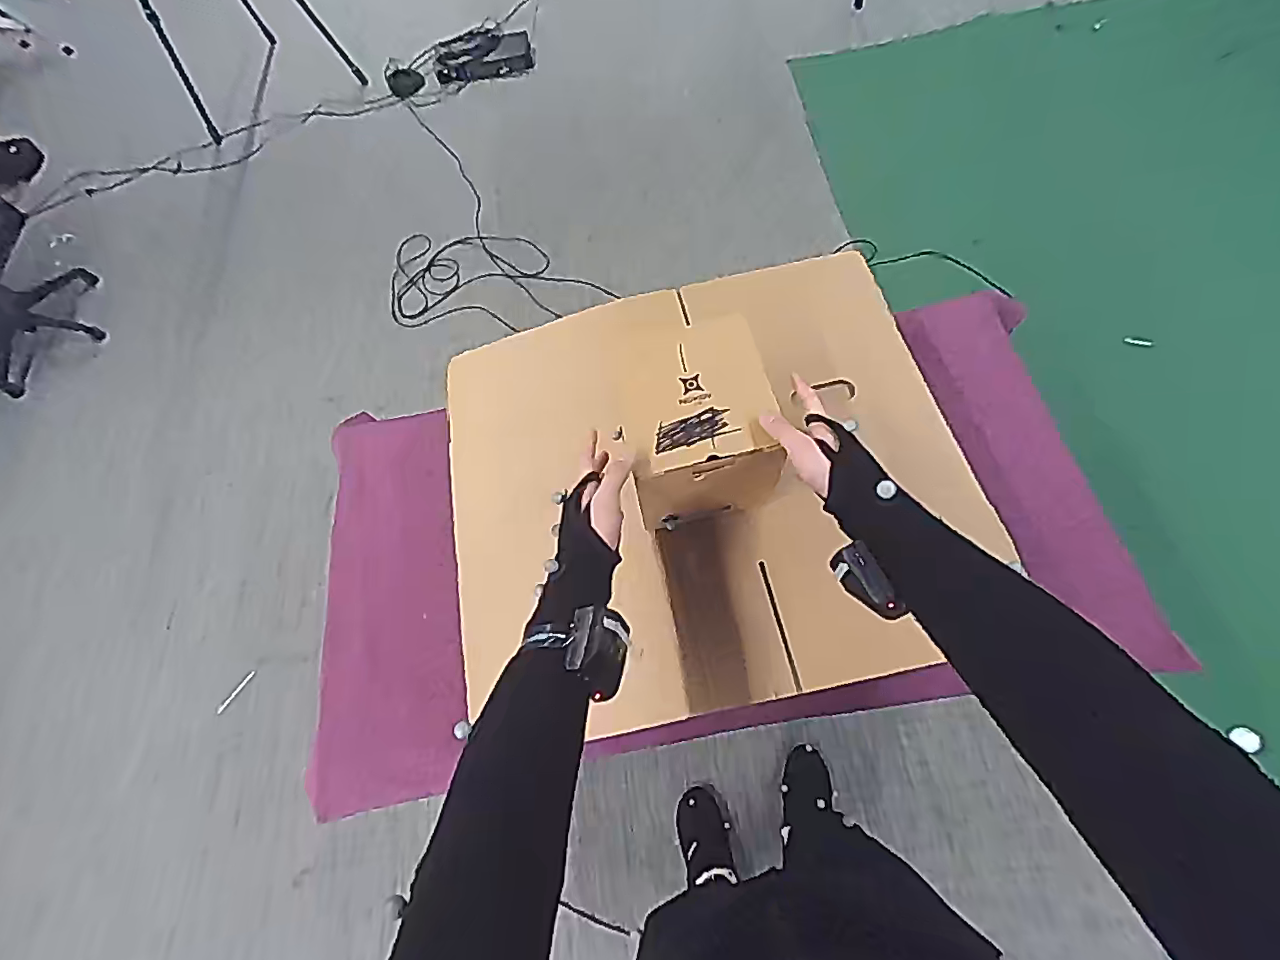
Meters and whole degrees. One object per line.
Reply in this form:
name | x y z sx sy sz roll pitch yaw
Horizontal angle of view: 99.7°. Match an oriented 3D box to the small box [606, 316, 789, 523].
small box | 0.064 -0.059 0.647 0.168 0.176 0.179 -13 65 -1
